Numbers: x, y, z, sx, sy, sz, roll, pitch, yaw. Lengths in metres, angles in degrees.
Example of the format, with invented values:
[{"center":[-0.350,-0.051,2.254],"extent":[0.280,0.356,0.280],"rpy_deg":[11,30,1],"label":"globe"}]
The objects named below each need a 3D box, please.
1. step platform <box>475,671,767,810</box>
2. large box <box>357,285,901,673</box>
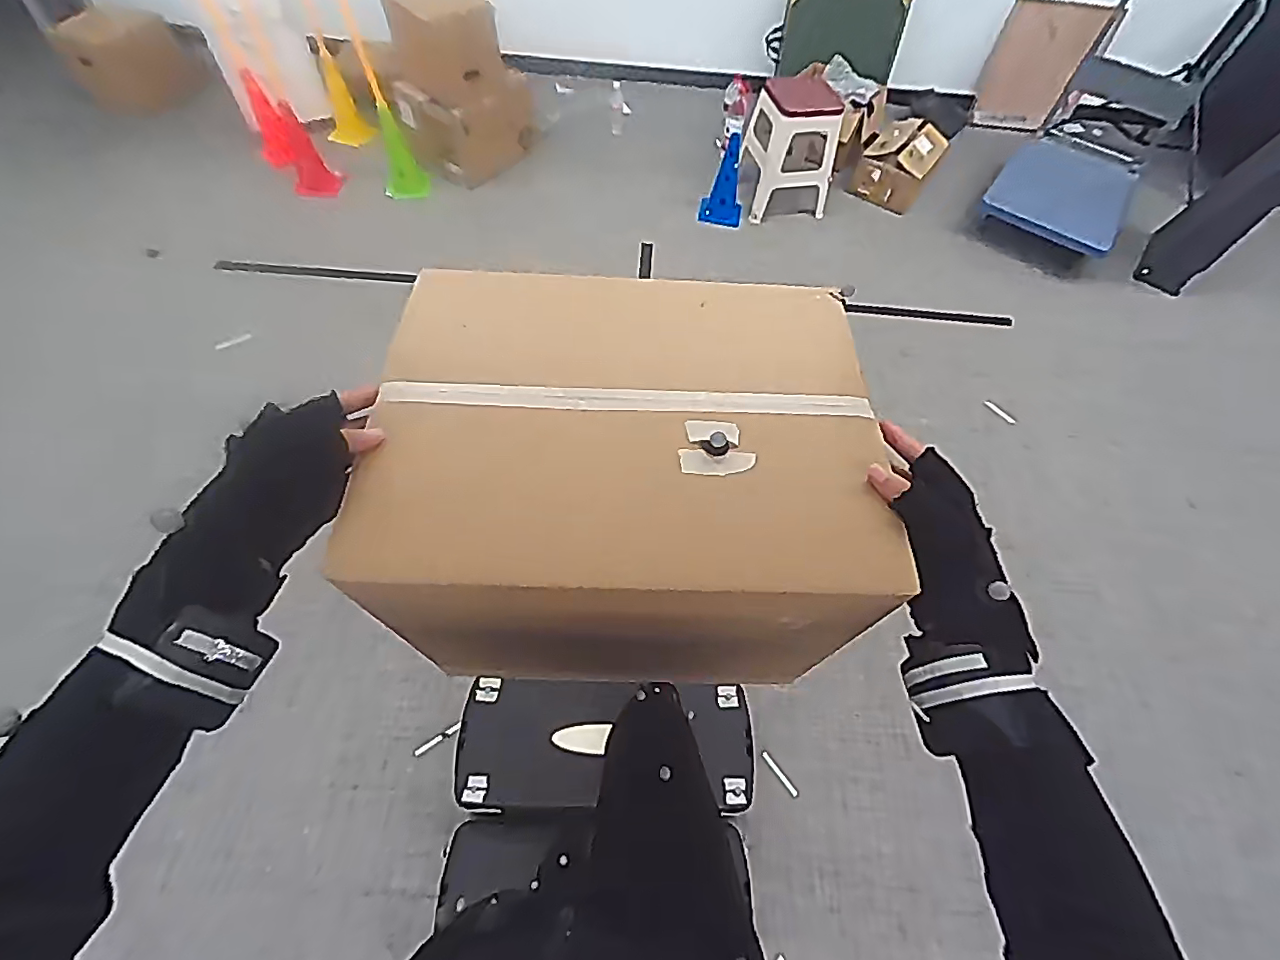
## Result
[{"center":[-0.042,0.629,1.310],"extent":[0.684,0.204,0.286],"rpy_deg":[3,58,-3],"label":"step platform"},{"center":[-0.013,0.020,0.591],"extent":[0.408,0.320,0.320],"rpy_deg":[2,59,-2],"label":"large box"}]
